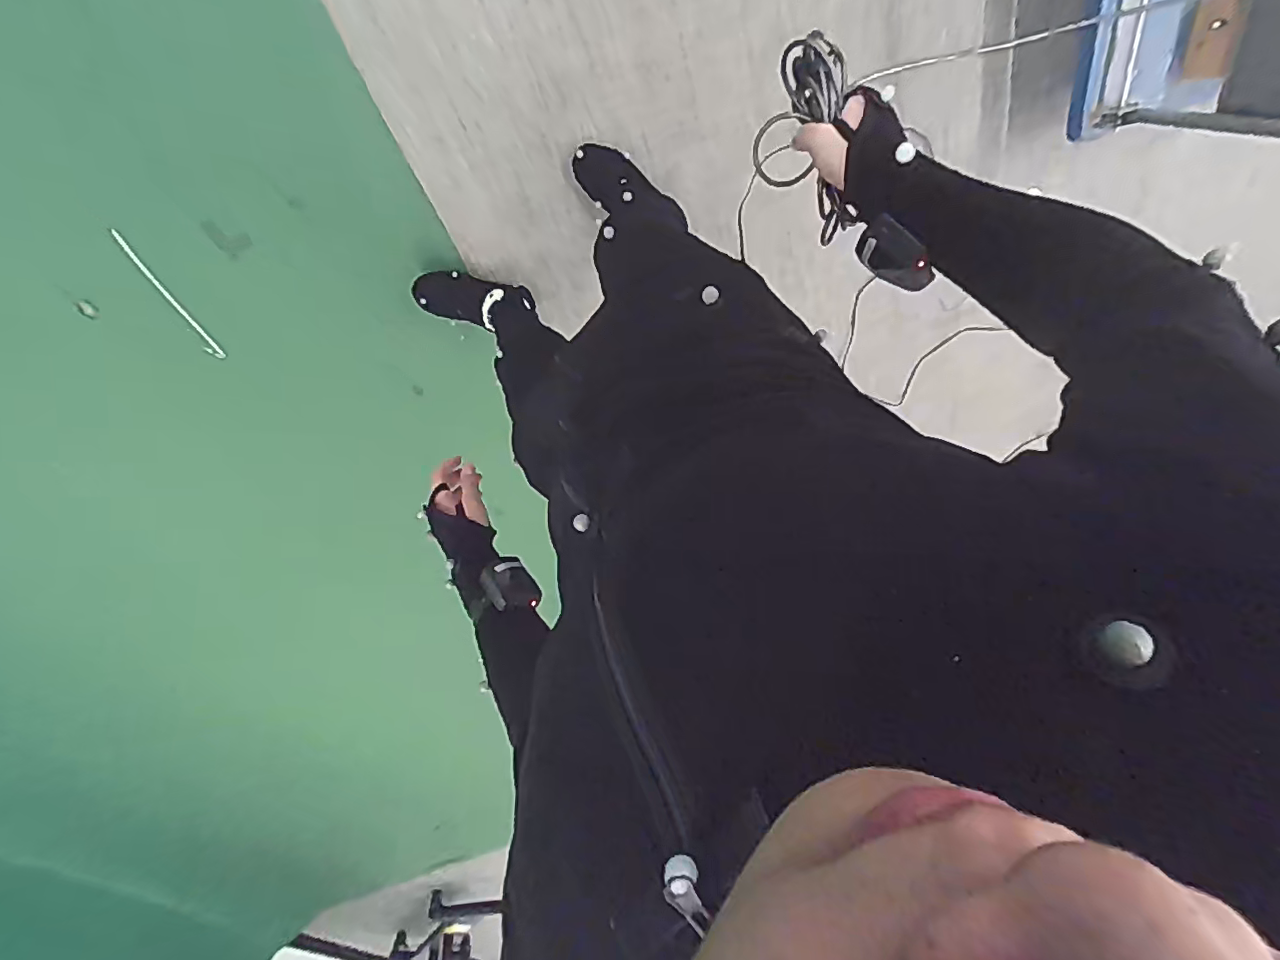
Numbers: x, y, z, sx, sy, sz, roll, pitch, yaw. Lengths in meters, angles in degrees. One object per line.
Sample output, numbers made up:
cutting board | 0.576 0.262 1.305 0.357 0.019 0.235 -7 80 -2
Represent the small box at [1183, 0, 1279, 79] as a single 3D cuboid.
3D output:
small box | 1.294 -0.946 1.103 0.179 0.176 0.168 -18 128 2
